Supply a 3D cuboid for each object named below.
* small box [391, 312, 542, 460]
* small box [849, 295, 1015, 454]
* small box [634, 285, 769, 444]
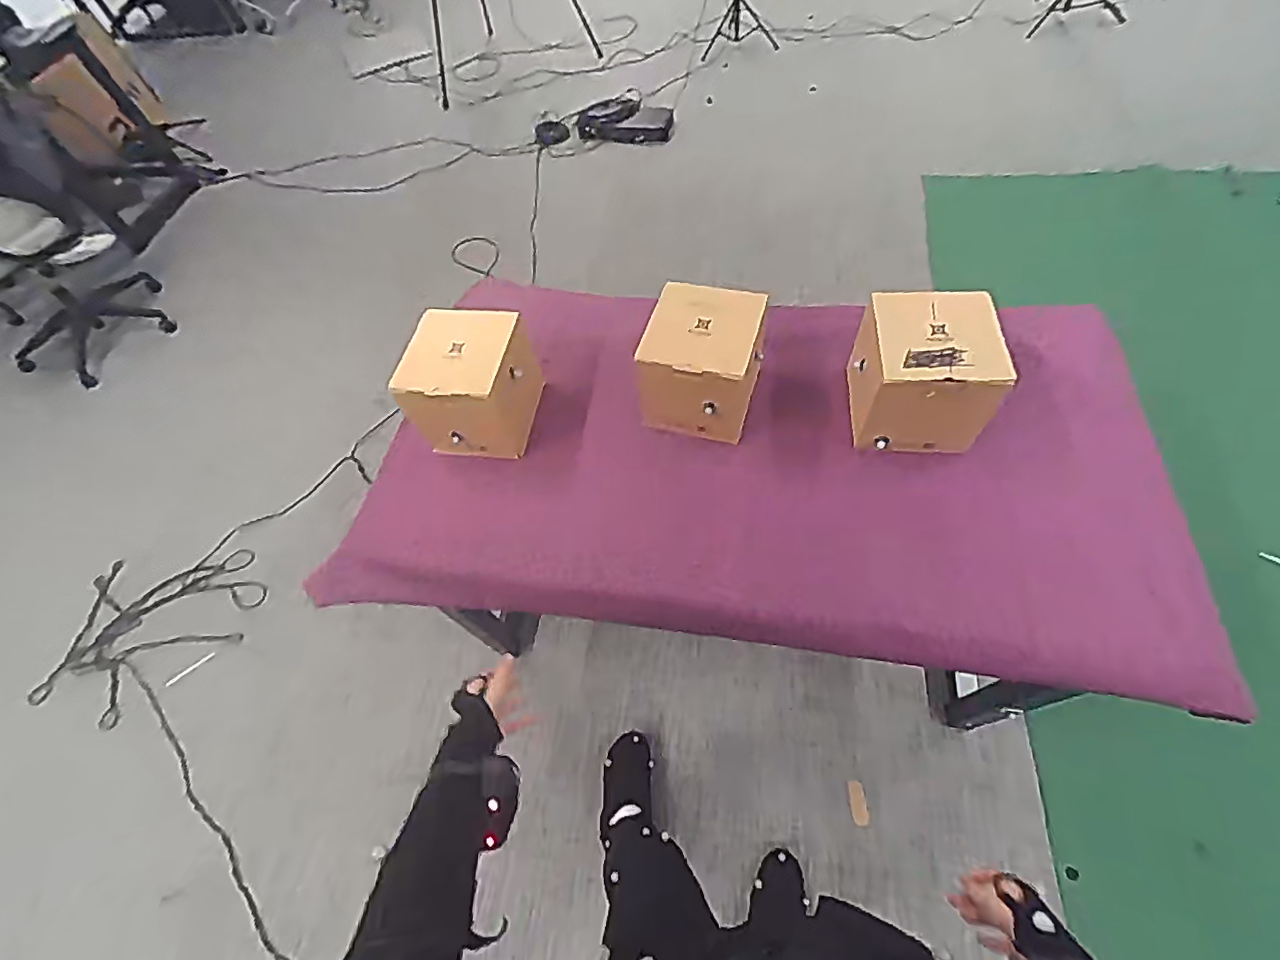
[{"bbox_3d":[-0.274,-0.155,0.904,0.168,0.176,0.179,4,60,9],"label":"small box"},{"bbox_3d":[0.422,-0.154,0.815,0.168,0.176,0.179,3,58,9],"label":"small box"},{"bbox_3d":[0.103,-0.183,0.875,0.168,0.176,0.179,14,61,14],"label":"small box"}]
